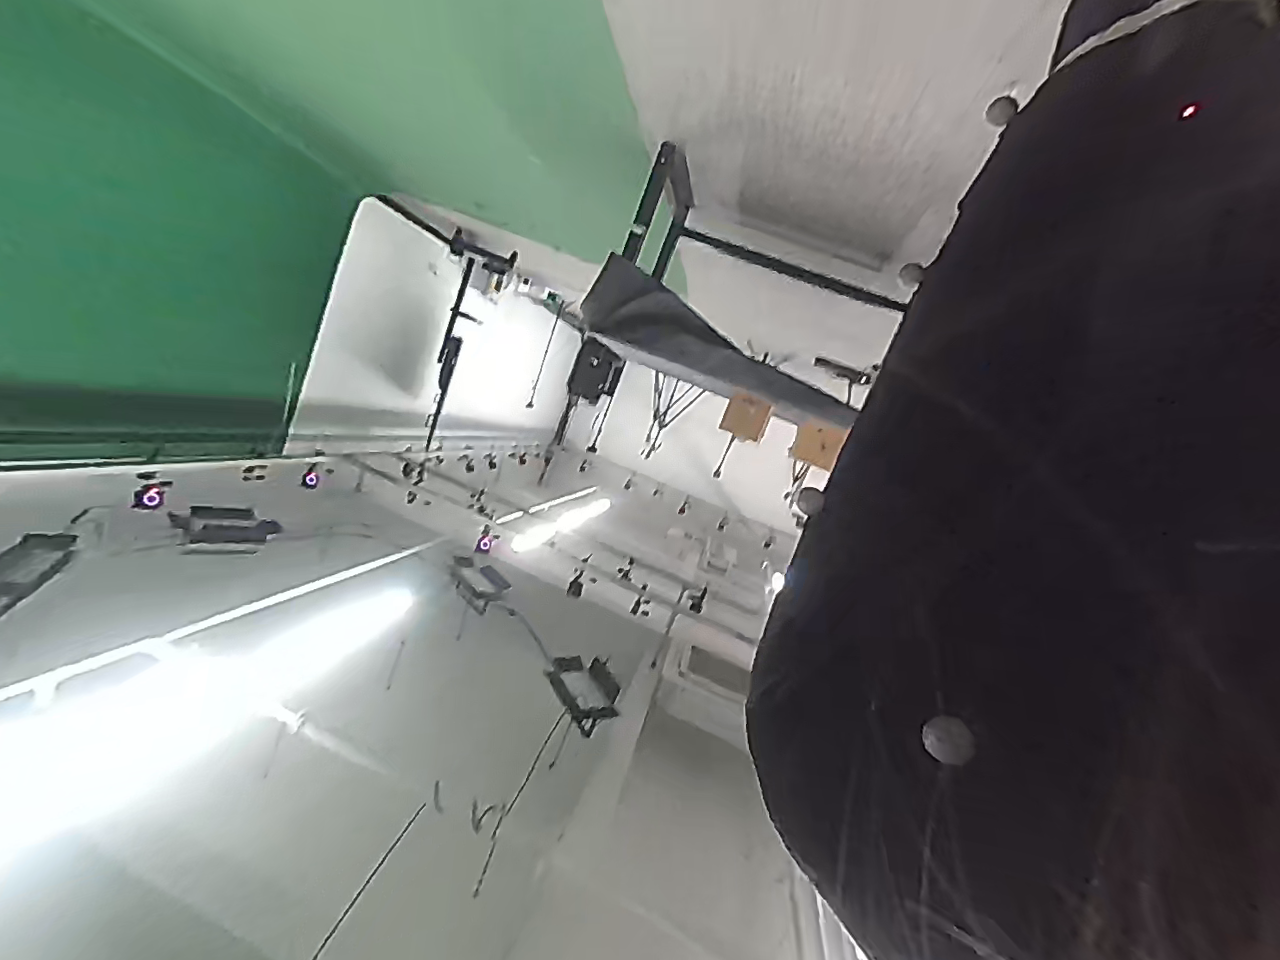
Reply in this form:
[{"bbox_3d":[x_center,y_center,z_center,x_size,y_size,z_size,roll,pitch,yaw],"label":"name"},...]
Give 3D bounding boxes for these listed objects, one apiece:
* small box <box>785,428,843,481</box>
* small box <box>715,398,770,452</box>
[{"bbox_3d":[0.695,-0.107,2.167,0.168,0.176,0.179,23,-172,9],"label":"small box"},{"bbox_3d":[0.422,-0.223,2.207,0.168,0.176,0.179,23,-174,15],"label":"small box"}]
